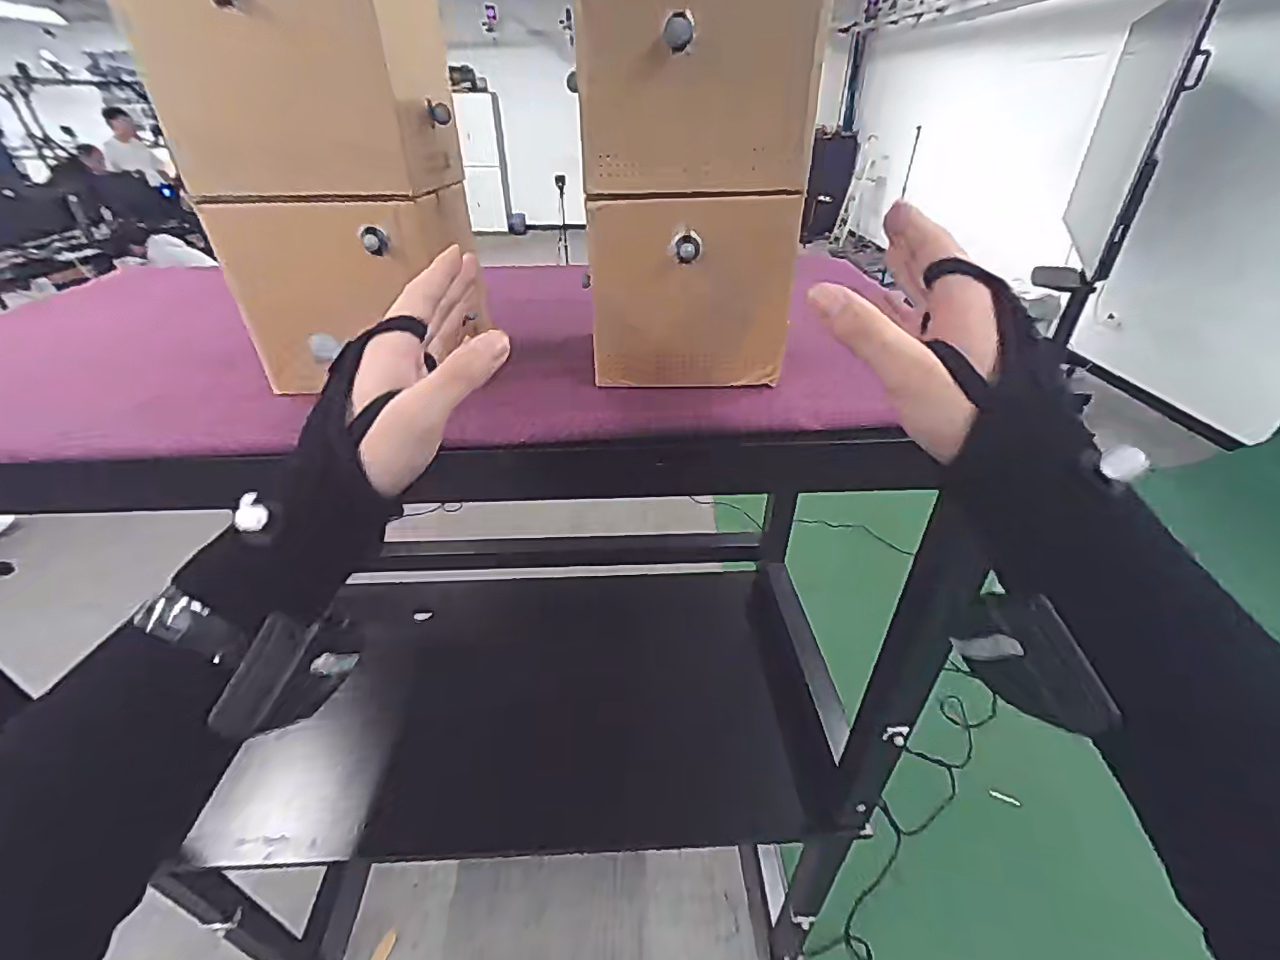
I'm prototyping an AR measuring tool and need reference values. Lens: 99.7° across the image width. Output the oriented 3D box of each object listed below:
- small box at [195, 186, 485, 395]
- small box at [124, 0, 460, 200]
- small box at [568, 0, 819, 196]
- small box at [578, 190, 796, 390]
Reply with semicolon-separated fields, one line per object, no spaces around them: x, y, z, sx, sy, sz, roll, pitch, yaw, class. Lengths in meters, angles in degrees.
-0.266;-0.190;0.534;0.179;0.176;0.168;-1;34;-3;small box
-0.266;-0.329;0.444;0.179;0.176;0.168;-1;34;-1;small box
0.040;-0.332;0.443;0.179;0.176;0.168;-1;35;2;small box
0.042;-0.196;0.534;0.179;0.176;0.168;0;34;2;small box
